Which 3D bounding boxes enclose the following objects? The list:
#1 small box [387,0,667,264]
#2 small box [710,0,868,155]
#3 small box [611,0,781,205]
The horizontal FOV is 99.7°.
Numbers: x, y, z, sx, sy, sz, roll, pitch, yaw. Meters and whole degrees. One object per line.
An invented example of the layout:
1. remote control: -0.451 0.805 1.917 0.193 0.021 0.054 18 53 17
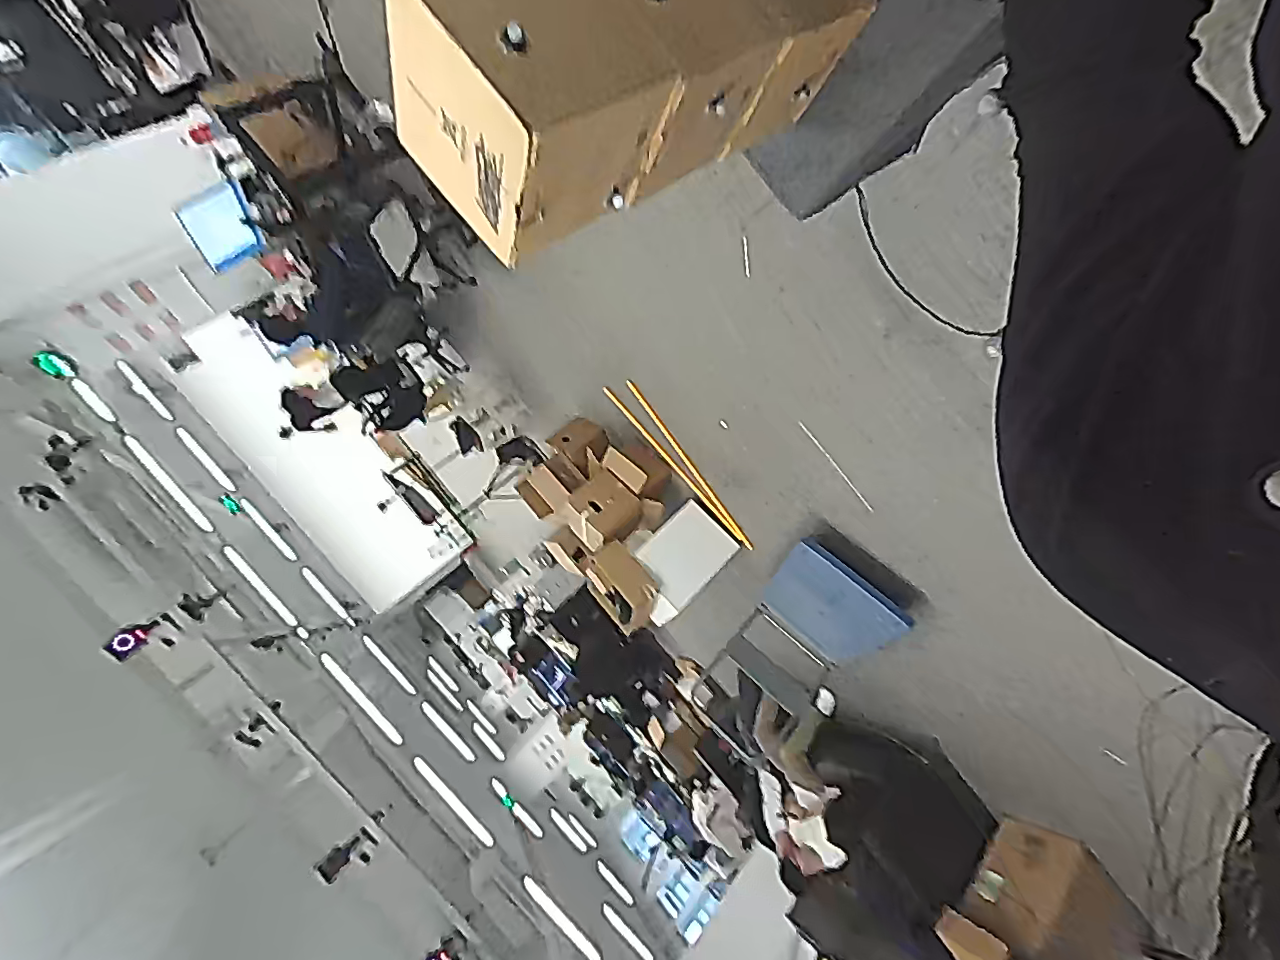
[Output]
1. small box: -0.103 -0.352 0.508 0.179 0.176 0.168 49 155 -1
2. small box: 0.127 -0.542 0.642 0.179 0.176 0.168 49 156 -2
3. small box: 0.013 -0.446 0.575 0.179 0.176 0.168 49 156 -2
